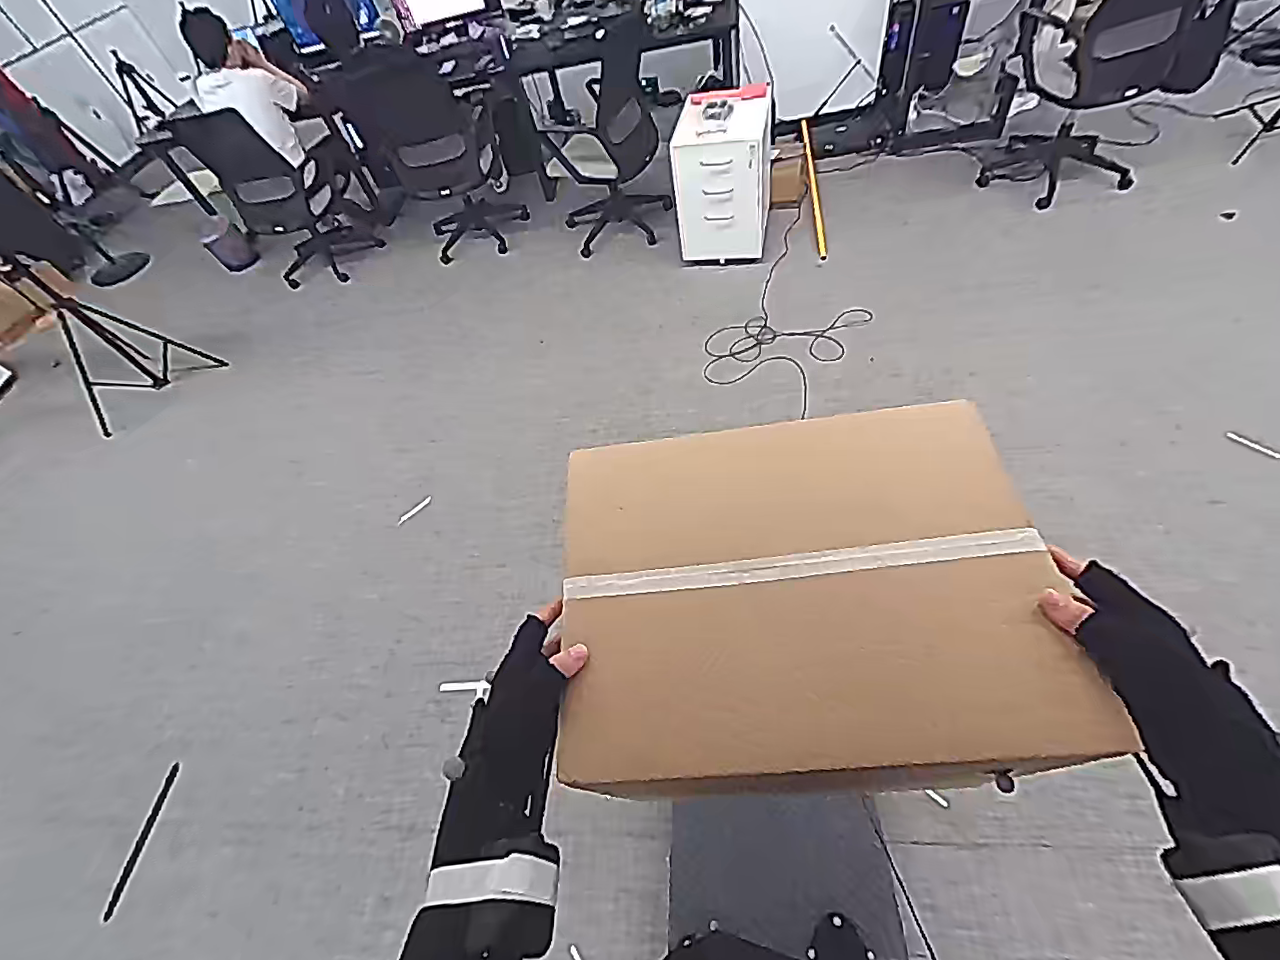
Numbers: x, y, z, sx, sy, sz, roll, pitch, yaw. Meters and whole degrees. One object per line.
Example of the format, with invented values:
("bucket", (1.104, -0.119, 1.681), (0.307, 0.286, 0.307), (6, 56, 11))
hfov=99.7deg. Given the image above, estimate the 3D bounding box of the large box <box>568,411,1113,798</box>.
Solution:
("large box", (0.156, 0.162, 0.602), (0.408, 0.320, 0.320), (-7, 56, 6))
